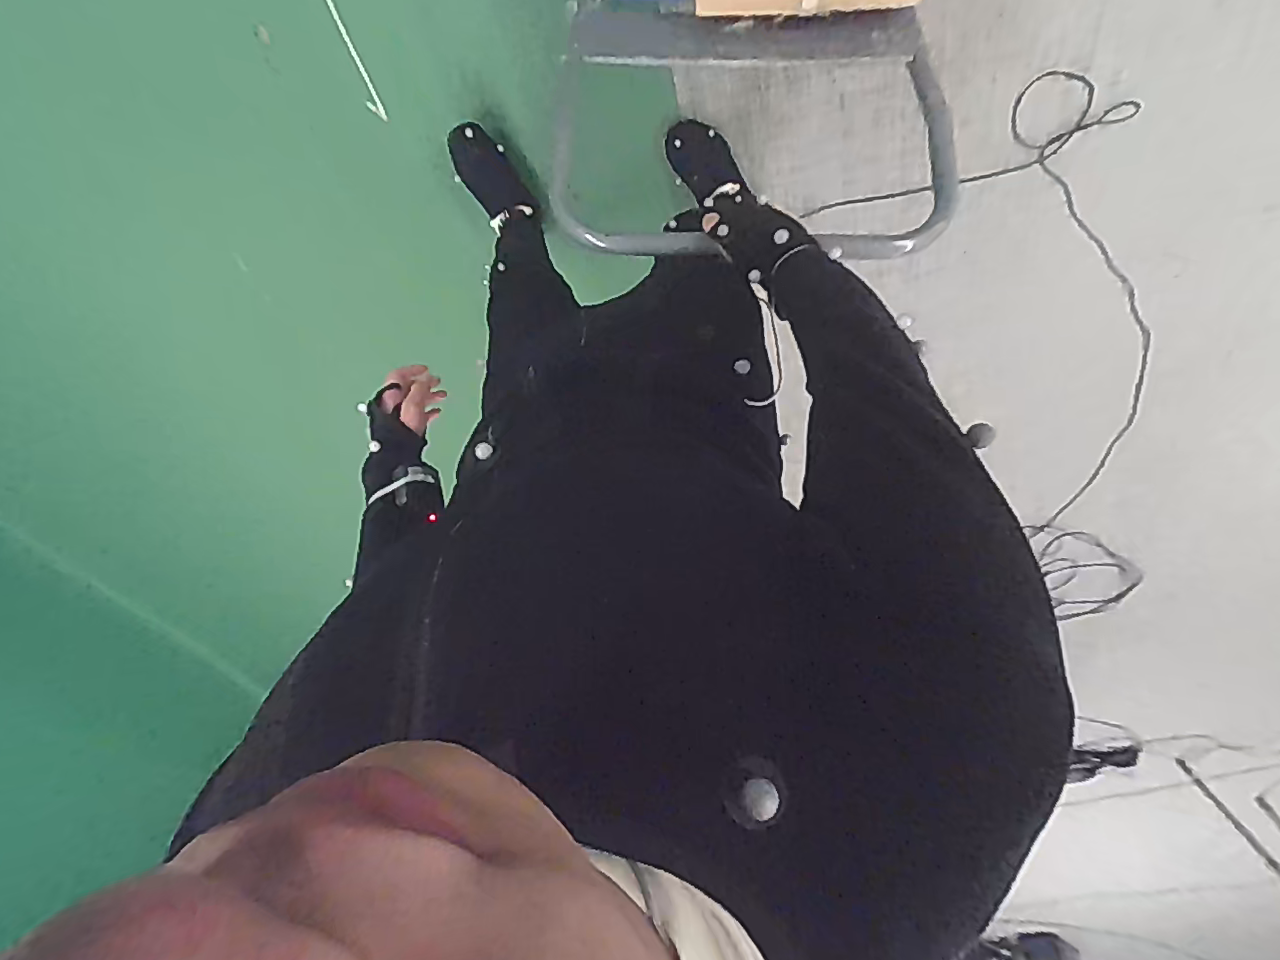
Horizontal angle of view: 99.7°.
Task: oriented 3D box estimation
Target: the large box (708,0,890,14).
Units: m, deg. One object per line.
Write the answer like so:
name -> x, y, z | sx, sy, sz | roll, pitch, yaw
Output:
large box -> 0.242, -0.897, 0.671 | 0.320, 0.320, 0.408 | 0, 149, 5
